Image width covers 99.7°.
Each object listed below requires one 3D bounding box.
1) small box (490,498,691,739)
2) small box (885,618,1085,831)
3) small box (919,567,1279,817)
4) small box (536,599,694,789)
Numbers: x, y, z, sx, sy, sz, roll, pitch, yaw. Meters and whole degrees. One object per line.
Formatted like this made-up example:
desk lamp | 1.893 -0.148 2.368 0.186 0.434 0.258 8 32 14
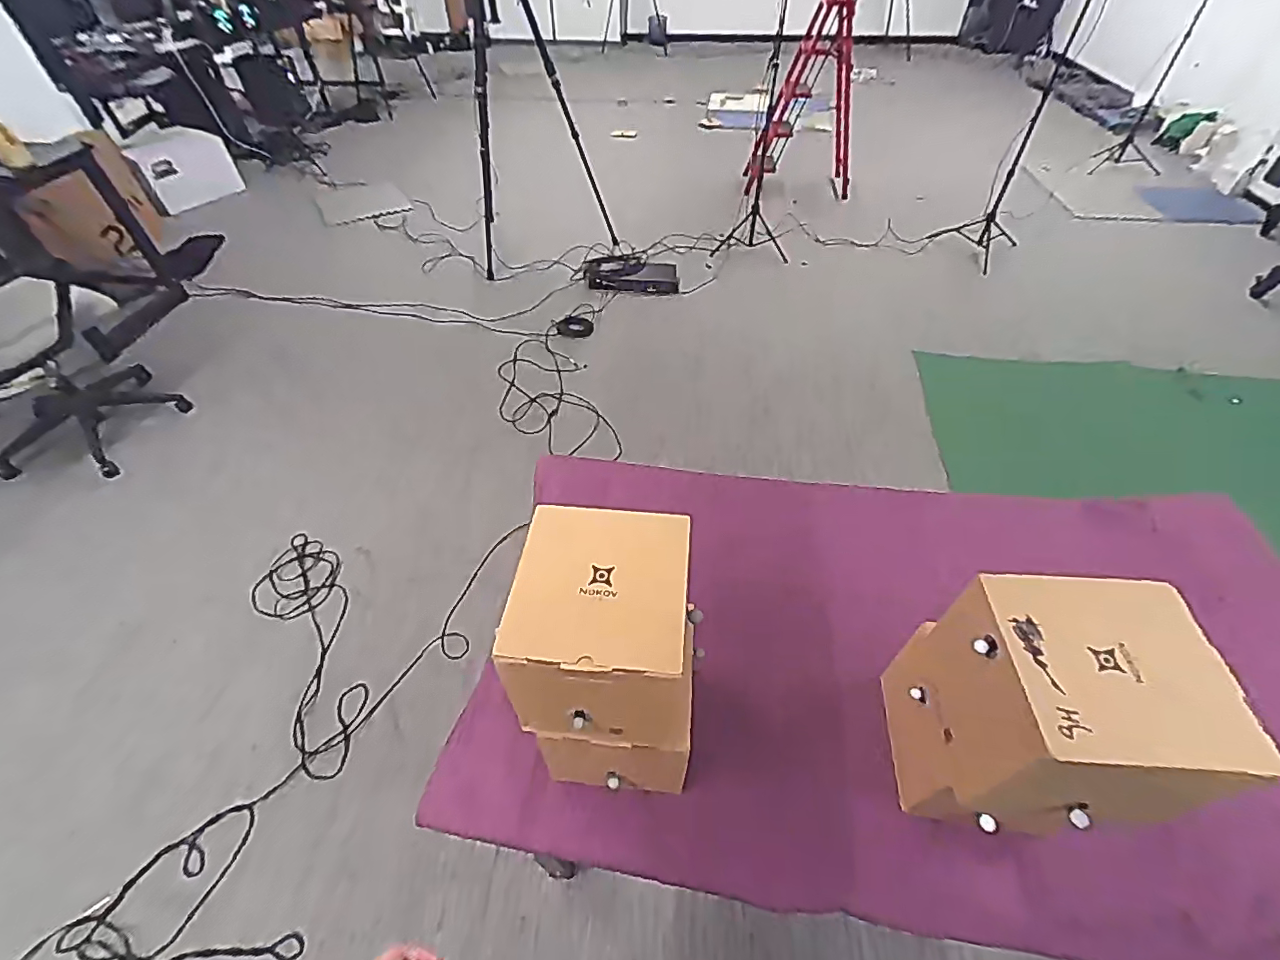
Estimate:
small box | -0.038 0.143 0.562 0.168 0.176 0.179 4 47 4
small box | 0.410 0.291 0.645 0.168 0.176 0.179 6 48 6
small box | 0.397 0.201 0.506 0.179 0.176 0.168 3 48 4
small box | -0.023 0.260 0.675 0.168 0.176 0.179 4 47 5
